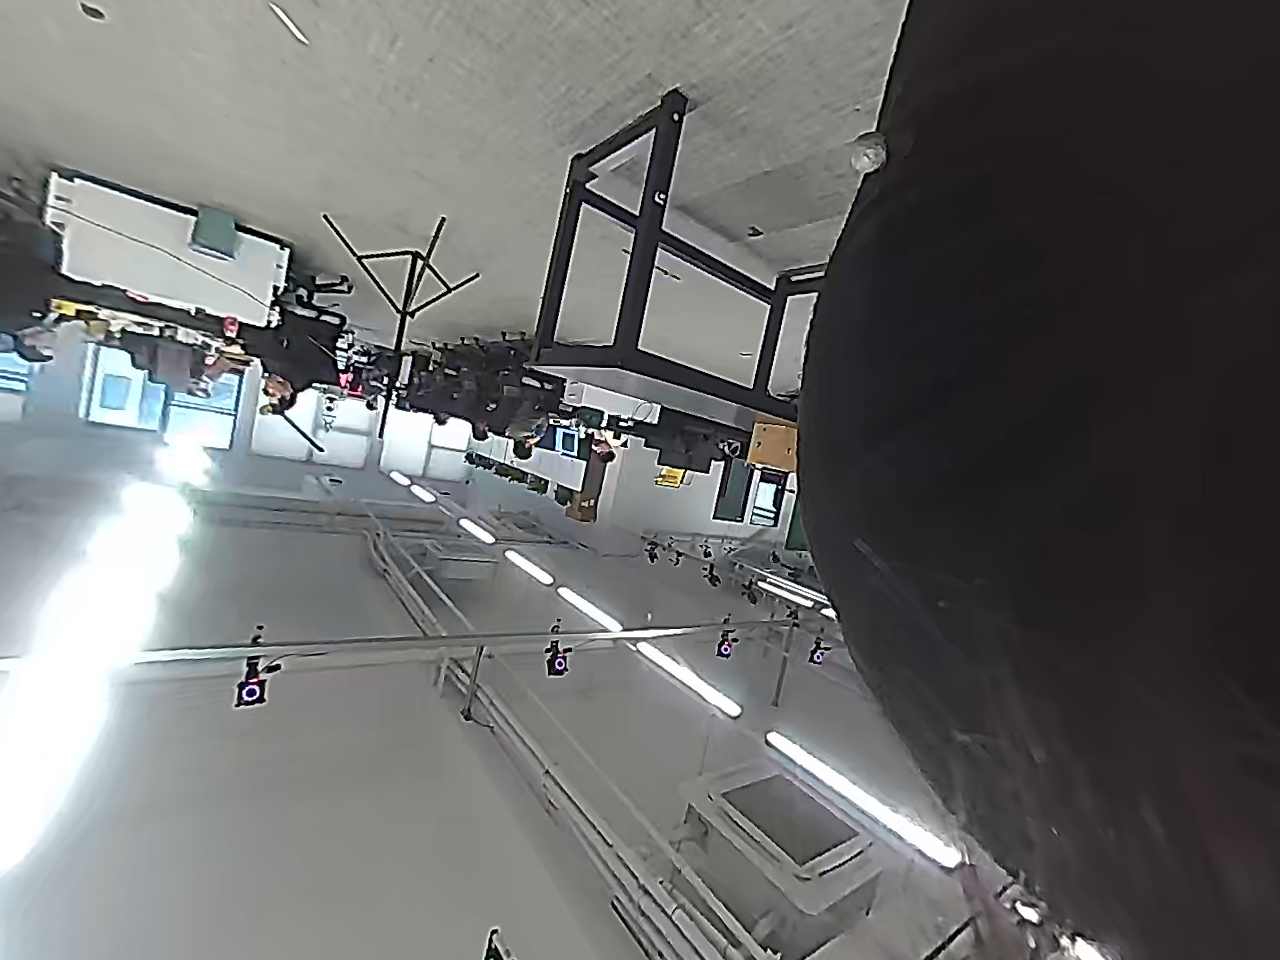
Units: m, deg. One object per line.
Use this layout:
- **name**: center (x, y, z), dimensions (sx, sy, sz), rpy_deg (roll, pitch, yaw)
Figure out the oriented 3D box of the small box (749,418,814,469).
- **small box**: center (0.564, -0.147, 2.154), dimensions (0.179, 0.176, 0.168), rpy_deg (9, -174, -35)
